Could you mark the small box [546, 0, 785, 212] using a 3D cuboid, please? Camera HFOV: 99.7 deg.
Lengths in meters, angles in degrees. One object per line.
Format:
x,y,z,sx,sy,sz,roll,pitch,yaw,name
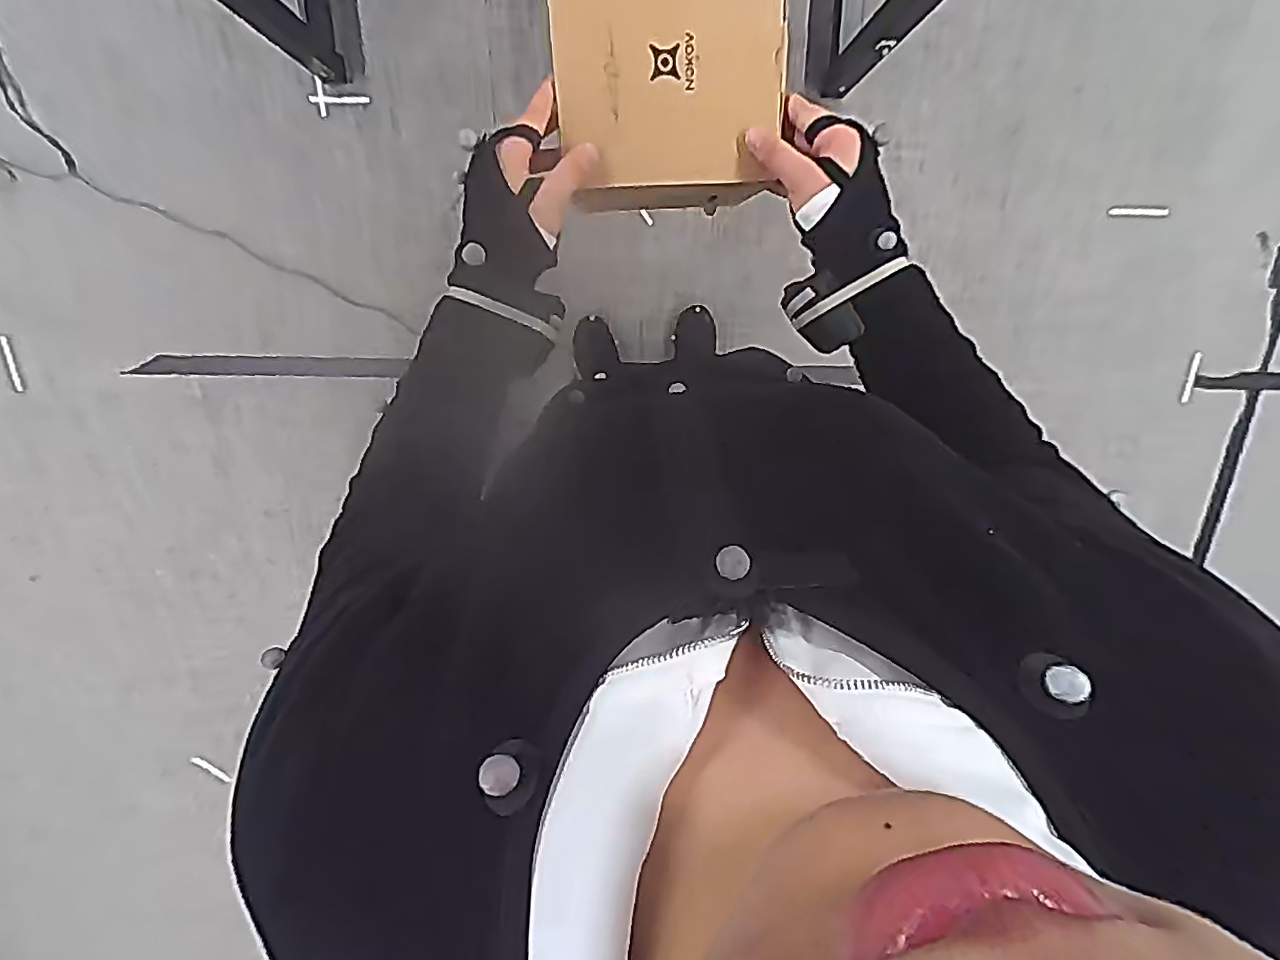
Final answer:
0.017,-0.340,0.476,0.179,0.176,0.168,-4,109,-1,small box
